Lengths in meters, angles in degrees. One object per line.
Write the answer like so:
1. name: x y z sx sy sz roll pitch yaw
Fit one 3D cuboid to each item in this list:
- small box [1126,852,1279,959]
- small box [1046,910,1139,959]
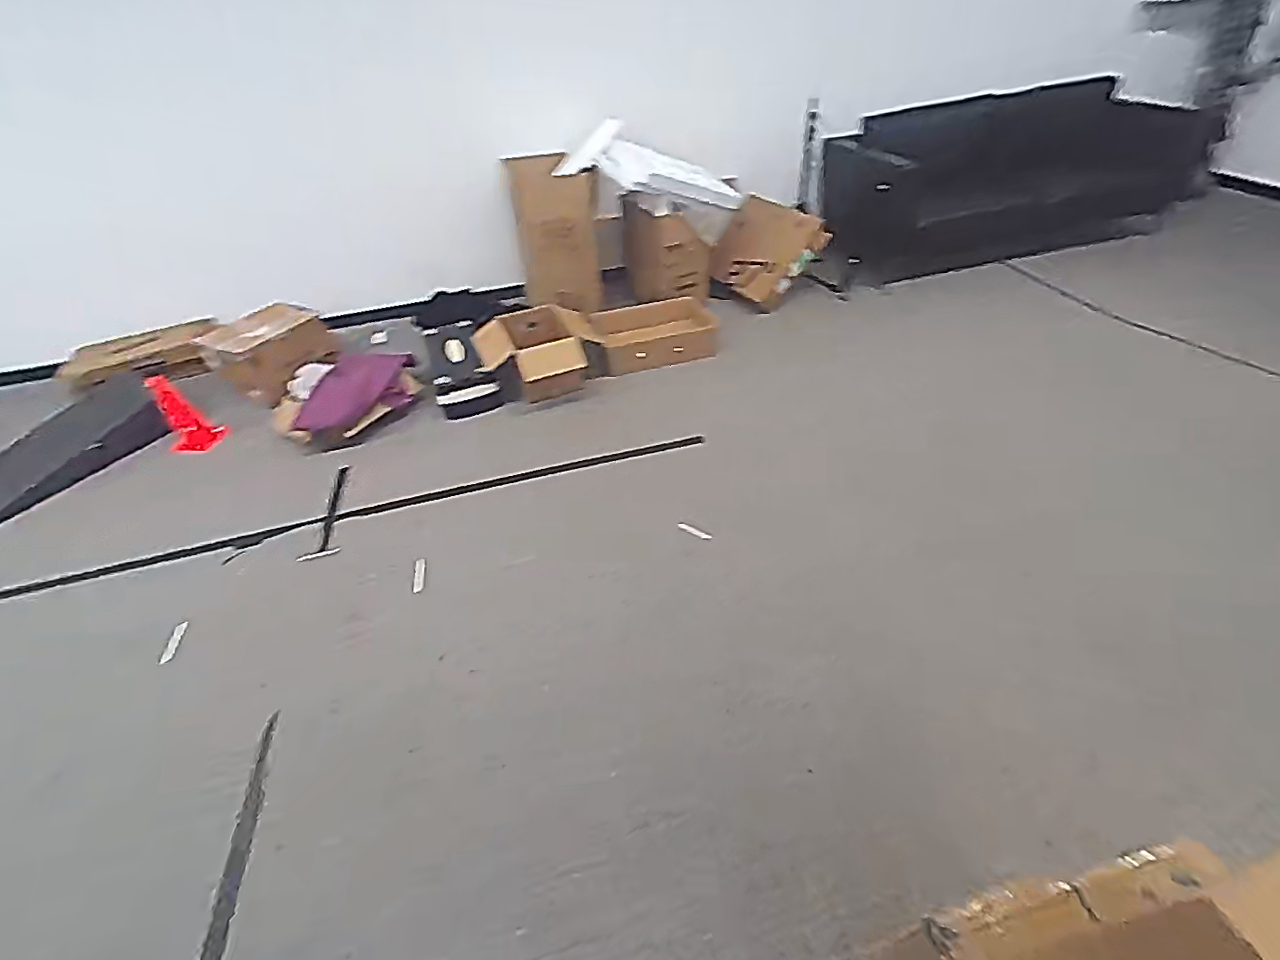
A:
1. small box: 0.557 0.418 0.438 0.179 0.176 0.168 -15 43 -8
2. small box: 0.568 0.541 0.546 0.179 0.176 0.168 -13 42 -7
